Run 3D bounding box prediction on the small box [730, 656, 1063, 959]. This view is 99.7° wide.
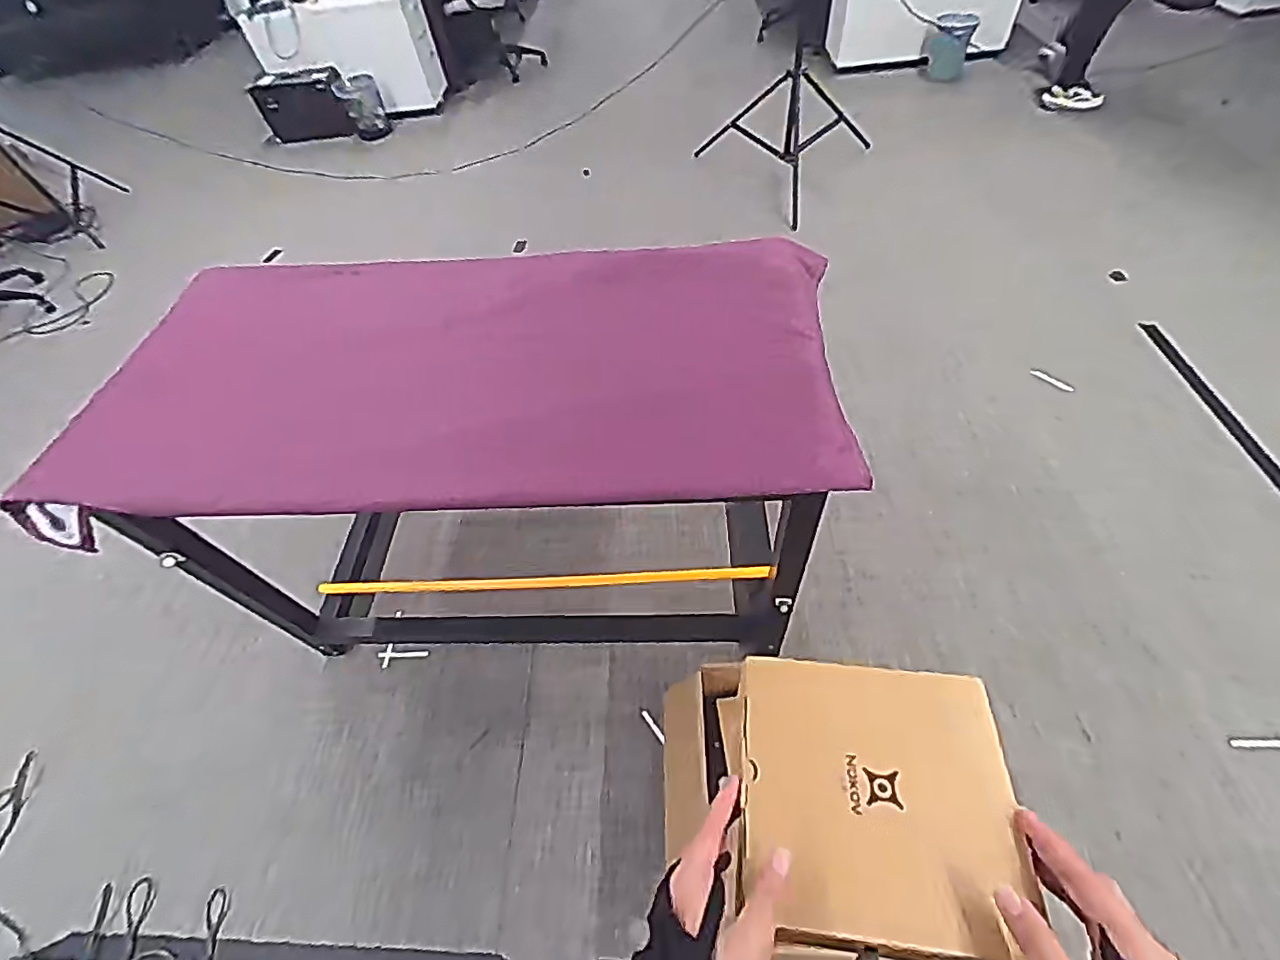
[{"bbox_3d":[0.165,0.255,0.418,0.179,0.176,0.168,2,50,9],"label":"small box"}]
